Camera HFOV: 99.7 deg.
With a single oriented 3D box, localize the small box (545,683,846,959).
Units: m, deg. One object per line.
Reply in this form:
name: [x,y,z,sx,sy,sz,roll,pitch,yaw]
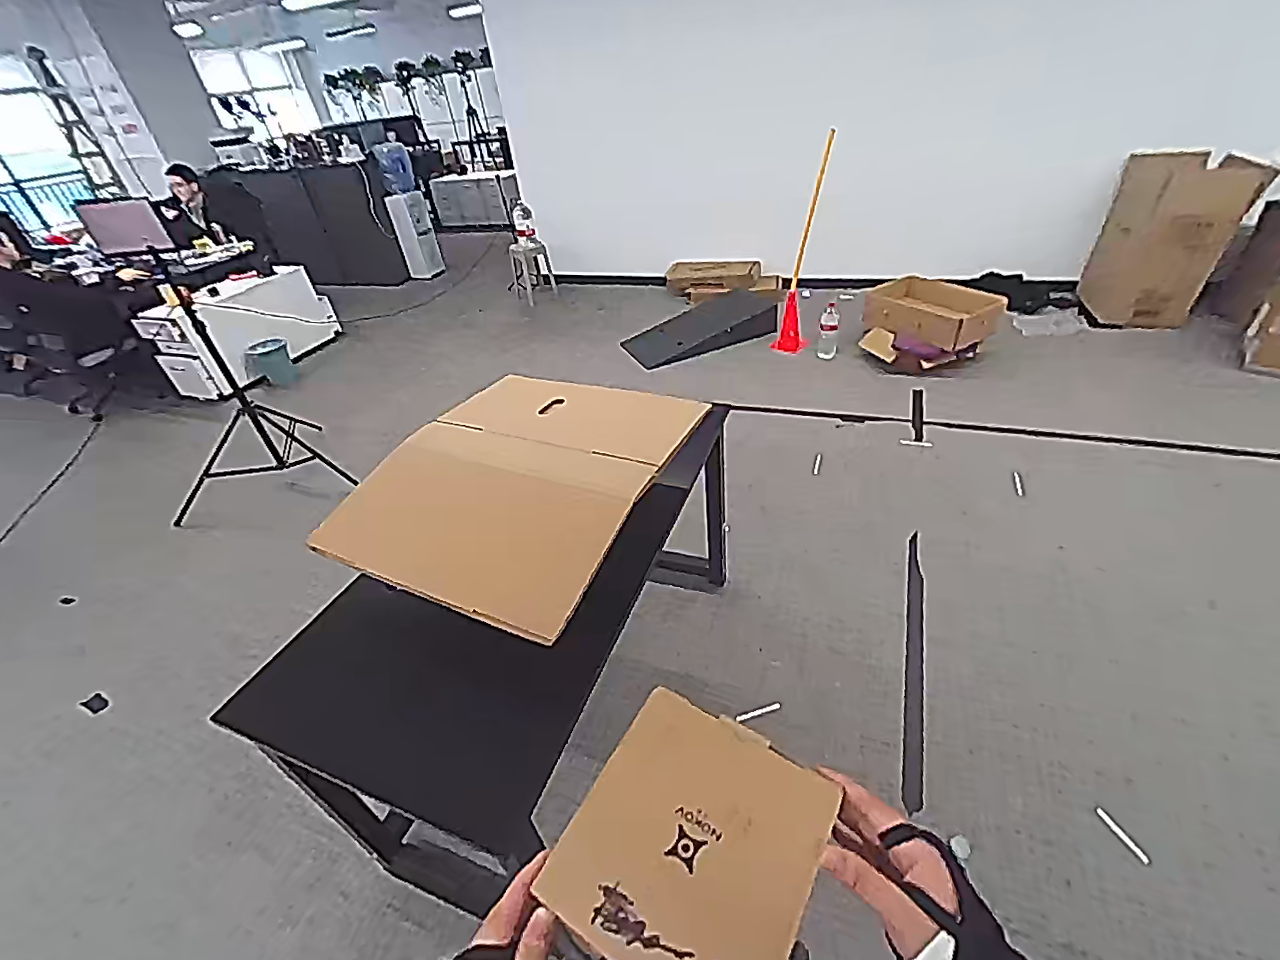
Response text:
small box: [0.049,0.315,0.447,0.168,0.176,0.179,20,47,27]
